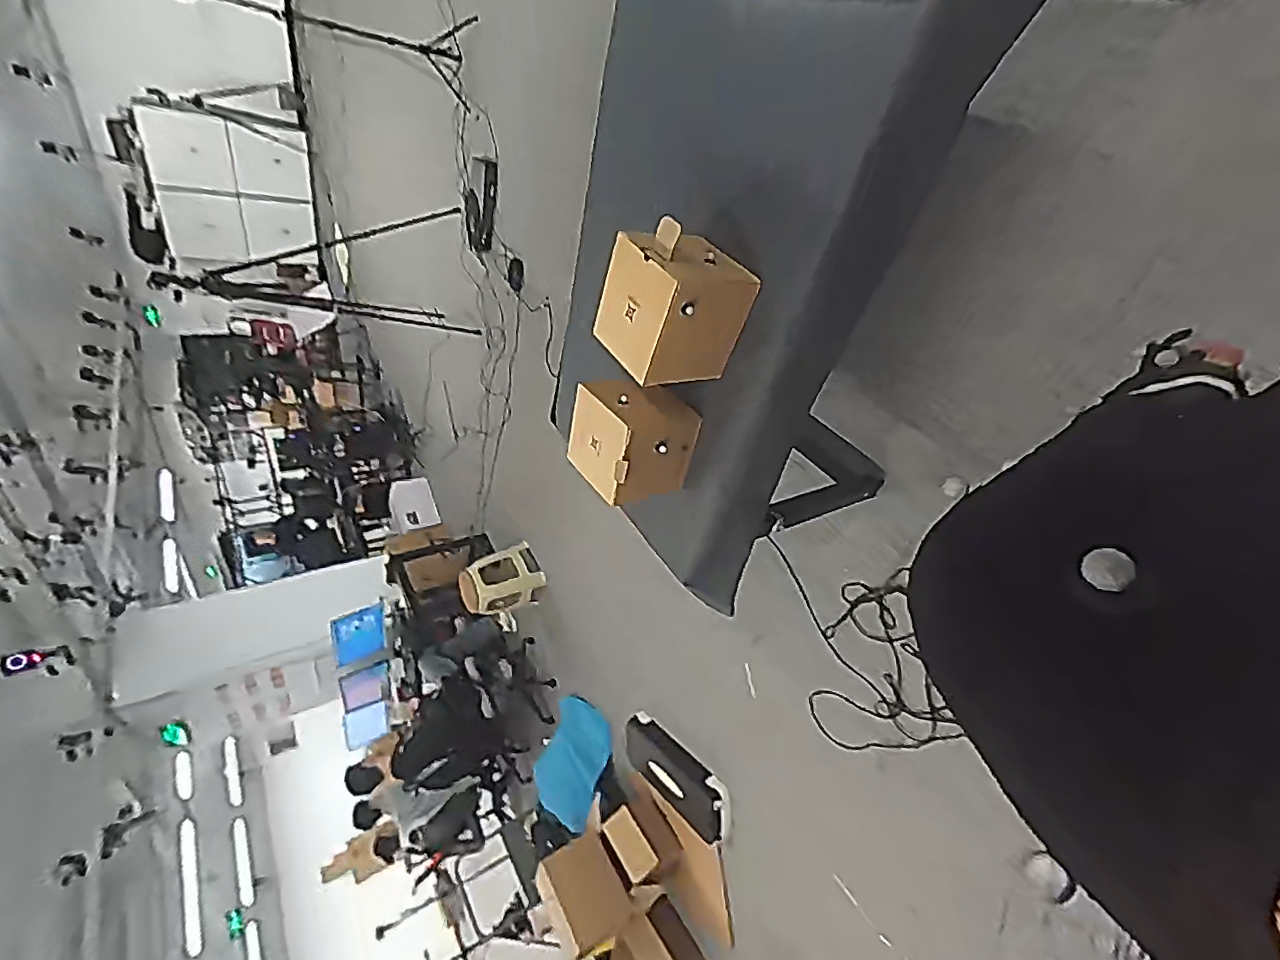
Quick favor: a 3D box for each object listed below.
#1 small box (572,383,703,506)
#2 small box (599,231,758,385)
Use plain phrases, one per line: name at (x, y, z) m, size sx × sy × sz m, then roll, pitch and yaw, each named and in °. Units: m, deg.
small box at (-0.007, -0.078, 1.025) m, size 0.179 × 0.176 × 0.168 m, roll 45°, pitch 133°, yaw 40°
small box at (0.059, -0.273, 0.868) m, size 0.168 × 0.176 × 0.179 m, roll 52°, pitch 138°, yaw 33°
